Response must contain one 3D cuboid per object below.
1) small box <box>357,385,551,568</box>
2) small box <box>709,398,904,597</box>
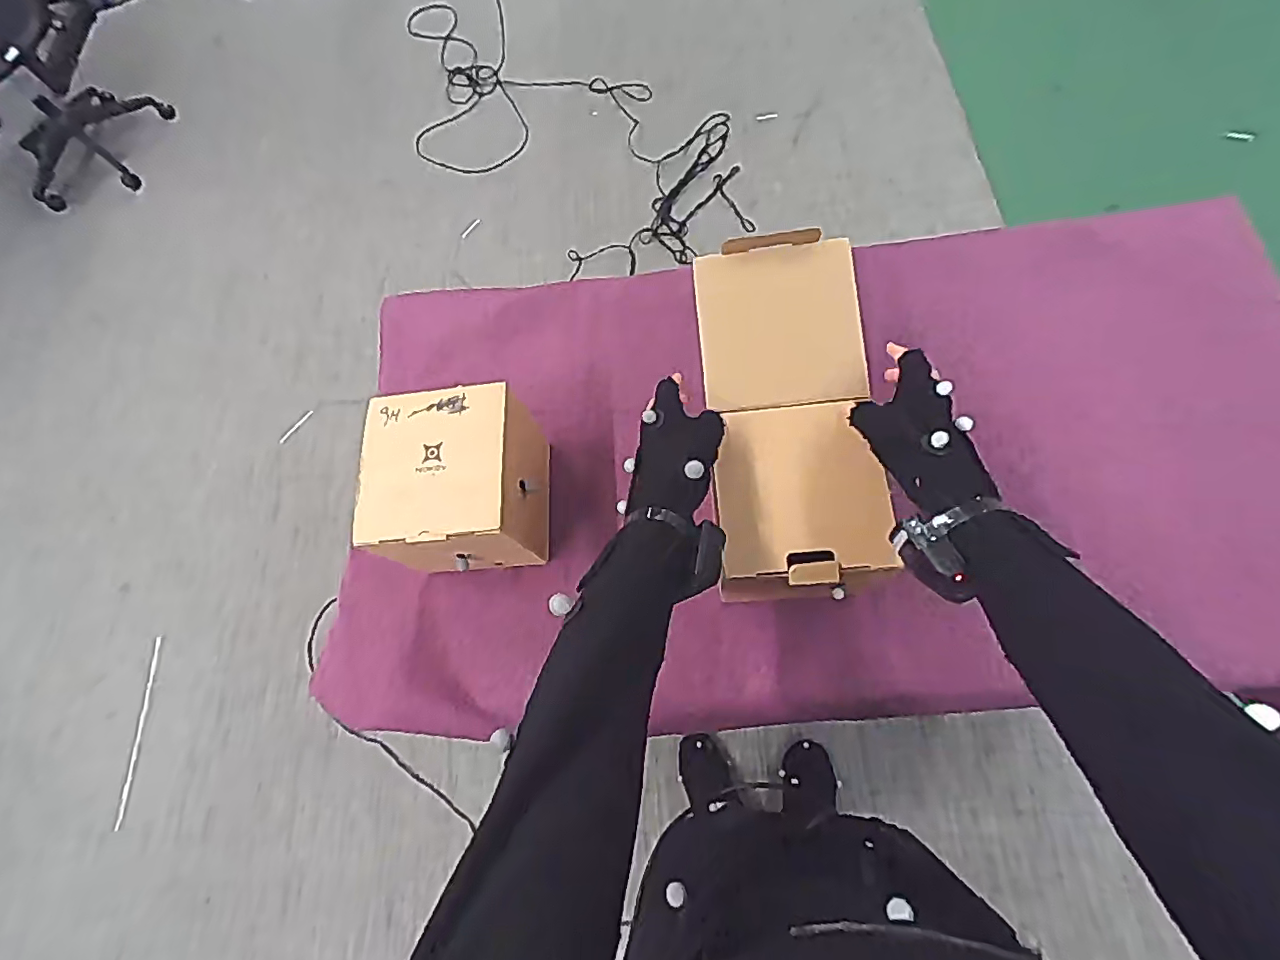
[{"bbox_3d":[-0.210,0.008,0.659,0.168,0.176,0.179,-6,70,6],"label":"small box"},{"bbox_3d":[0.166,0.031,0.594,0.168,0.176,0.179,-5,69,7],"label":"small box"}]
